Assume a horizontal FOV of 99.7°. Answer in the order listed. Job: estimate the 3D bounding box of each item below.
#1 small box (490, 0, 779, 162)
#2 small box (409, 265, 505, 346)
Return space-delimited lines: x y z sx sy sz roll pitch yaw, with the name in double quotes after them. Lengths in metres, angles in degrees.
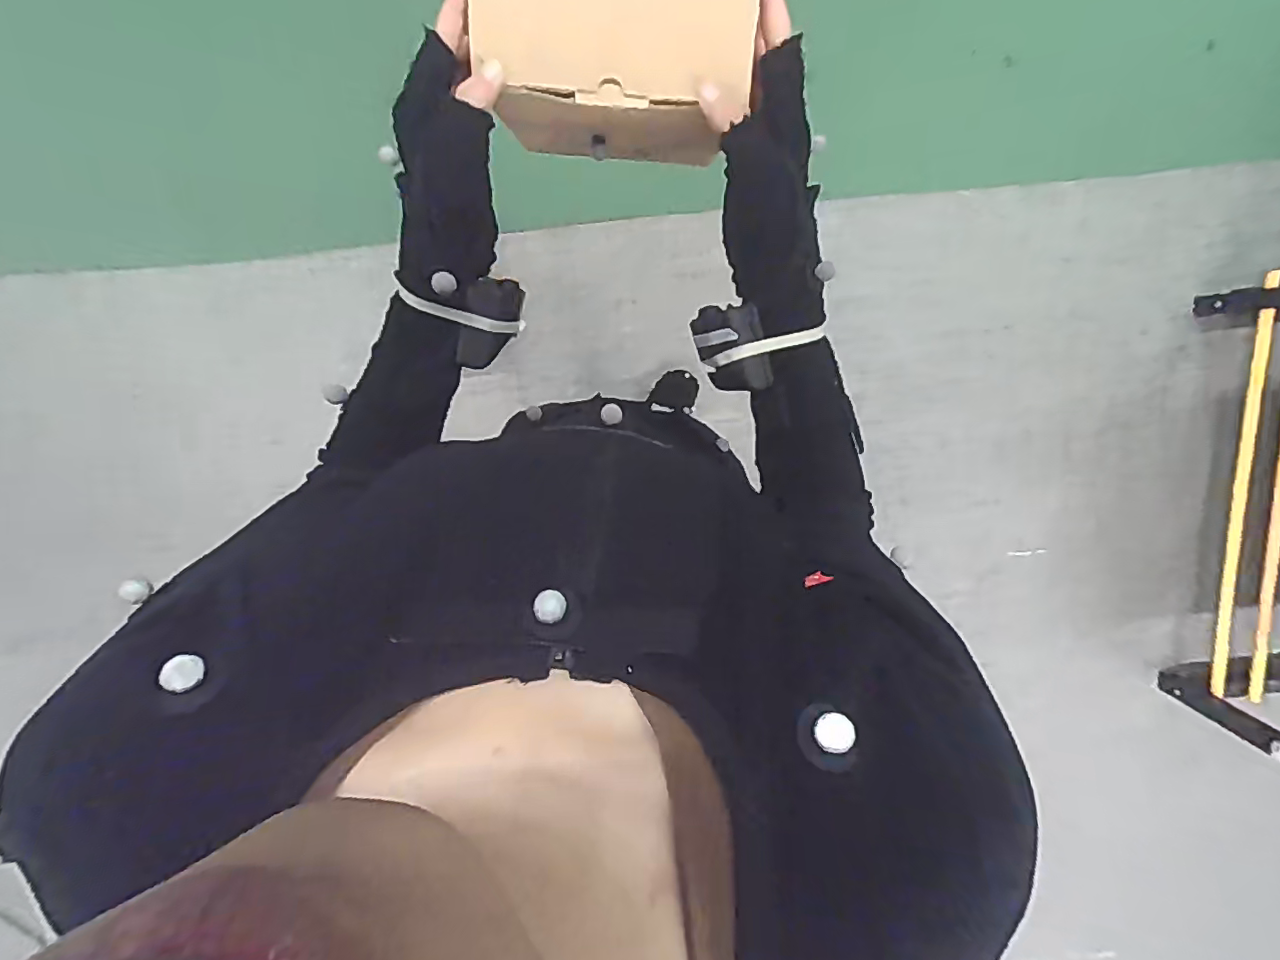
-0.001 -0.336 0.365 0.168 0.176 0.179 3 111 -2 "small box"
-0.431 -0.415 1.306 0.179 0.176 0.168 -4 101 0 "small box"
